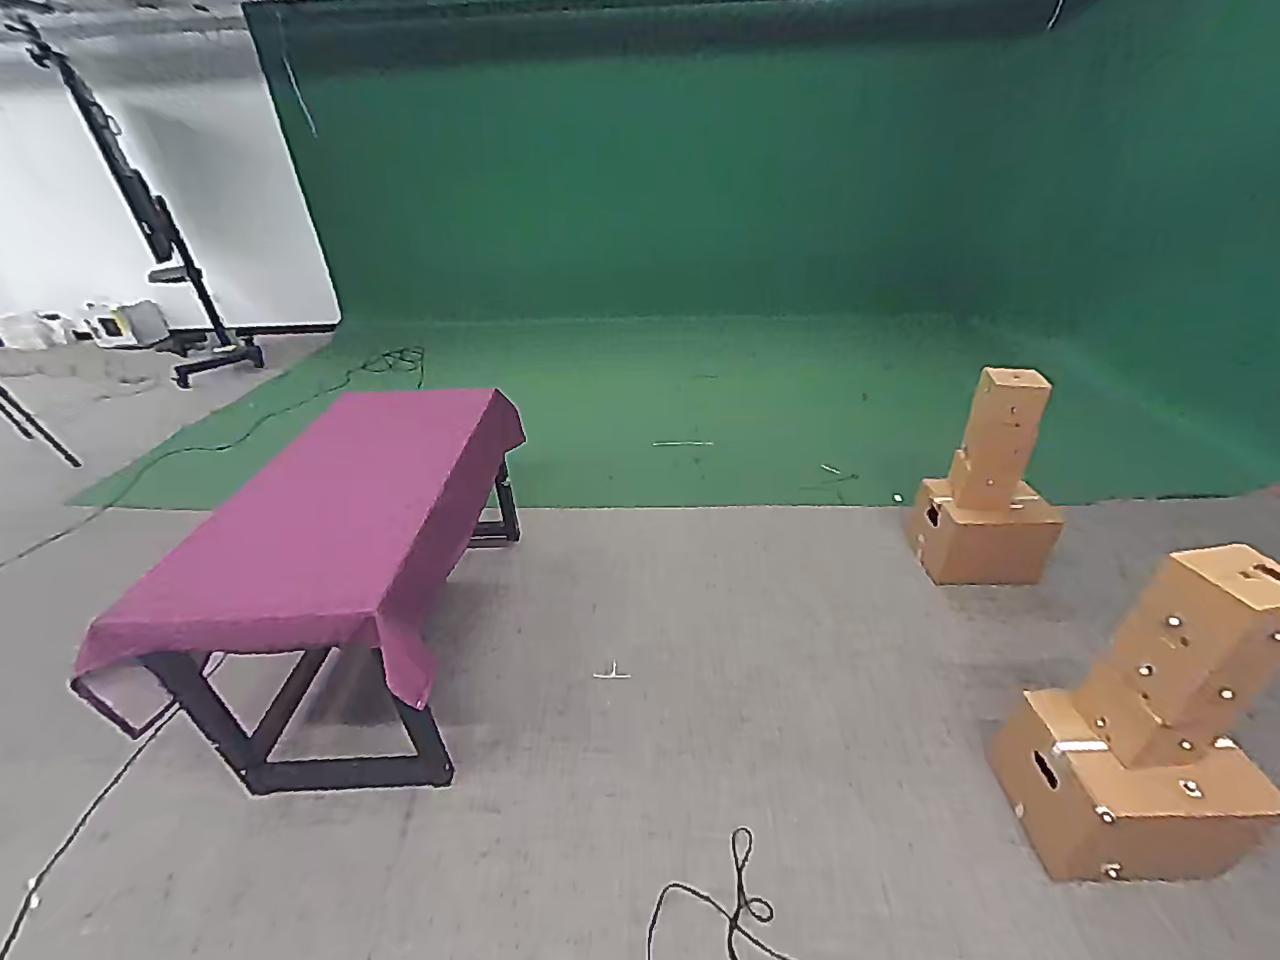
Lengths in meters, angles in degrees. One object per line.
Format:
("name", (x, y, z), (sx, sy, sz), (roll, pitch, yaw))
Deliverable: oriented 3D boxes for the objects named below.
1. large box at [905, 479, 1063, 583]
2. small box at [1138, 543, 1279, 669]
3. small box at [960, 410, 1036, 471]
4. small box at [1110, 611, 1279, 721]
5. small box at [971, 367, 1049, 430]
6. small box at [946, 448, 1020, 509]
("large box", (1.369, 0.203, 2.199), (0.408, 0.320, 0.320), (0, 32, 1))
("small box", (1.161, 0.249, 1.072), (0.179, 0.176, 0.168), (-6, 31, -6))
("small box", (1.313, -0.145, 1.995), (0.179, 0.176, 0.168), (6, 32, 15))
("small box", (1.165, 0.391, 1.157), (0.179, 0.176, 0.168), (-6, 31, -5))
("small box", (1.304, -0.290, 1.916), (0.168, 0.176, 0.179), (7, 32, 15))
("small box", (1.309, -0.005, 2.077), (0.179, 0.176, 0.168), (4, 32, 11))
